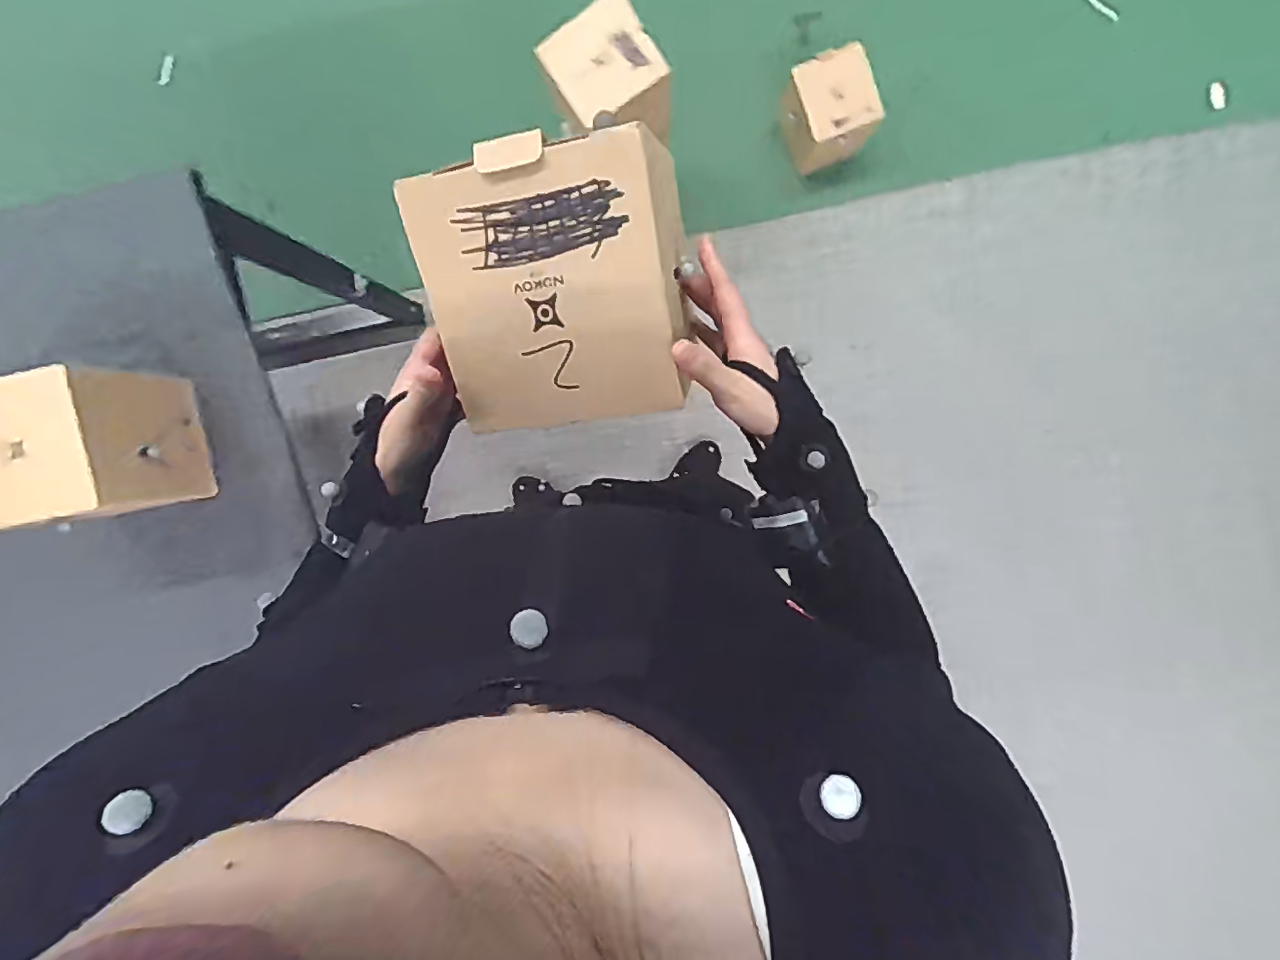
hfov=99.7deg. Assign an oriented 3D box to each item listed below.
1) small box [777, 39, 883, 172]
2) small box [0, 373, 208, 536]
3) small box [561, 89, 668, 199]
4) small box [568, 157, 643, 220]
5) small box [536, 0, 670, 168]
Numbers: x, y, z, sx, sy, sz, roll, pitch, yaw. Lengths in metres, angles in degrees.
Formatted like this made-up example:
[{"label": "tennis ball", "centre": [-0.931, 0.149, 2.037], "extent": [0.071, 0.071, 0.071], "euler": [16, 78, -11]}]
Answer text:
[{"label": "small box", "centre": [0.445, -0.886, 1.296], "extent": [0.168, 0.176, 0.179], "euler": [-20, 94, 3]}, {"label": "small box", "centre": [-0.697, -0.034, 0.684], "extent": [0.179, 0.176, 0.168], "euler": [-11, 95, 5]}, {"label": "small box", "centre": [-0.049, -0.745, 1.163], "extent": [0.168, 0.176, 0.179], "euler": [26, 95, -2]}, {"label": "small box", "centre": [-0.076, -0.761, 1.325], "extent": [0.168, 0.176, 0.179], "euler": [6, 95, 1]}, {"label": "small box", "centre": [-0.063, -0.728, 1.000], "extent": [0.179, 0.176, 0.168], "euler": [-33, 95, 5]}]
